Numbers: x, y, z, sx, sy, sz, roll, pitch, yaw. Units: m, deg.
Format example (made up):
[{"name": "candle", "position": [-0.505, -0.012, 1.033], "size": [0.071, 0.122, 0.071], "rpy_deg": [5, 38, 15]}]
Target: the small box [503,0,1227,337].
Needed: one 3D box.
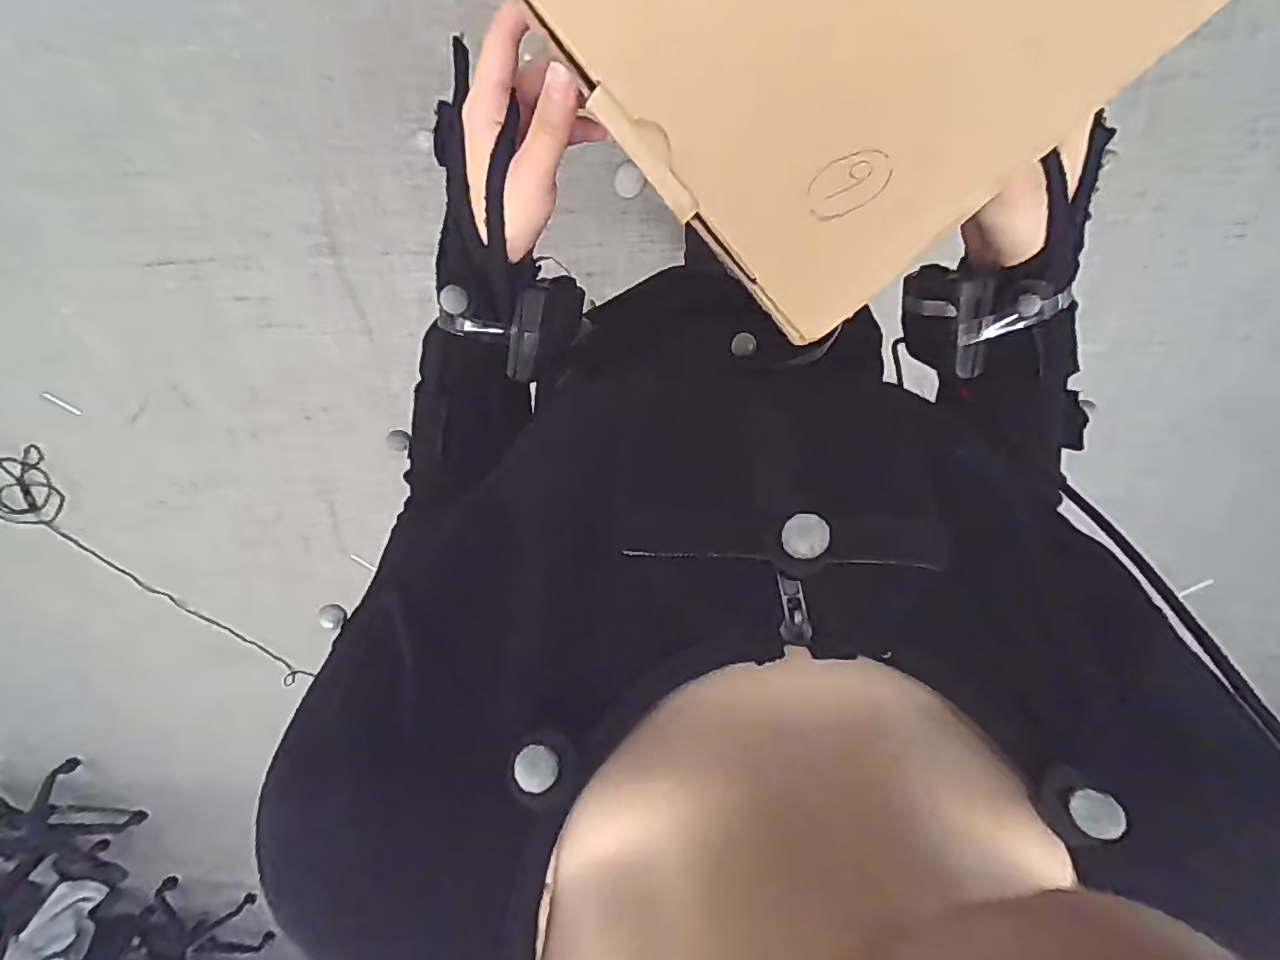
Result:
[{"name": "small box", "position": [0.066, -0.189, 0.206], "size": [0.179, 0.176, 0.168], "rpy_deg": [-40, 110, 21]}]
